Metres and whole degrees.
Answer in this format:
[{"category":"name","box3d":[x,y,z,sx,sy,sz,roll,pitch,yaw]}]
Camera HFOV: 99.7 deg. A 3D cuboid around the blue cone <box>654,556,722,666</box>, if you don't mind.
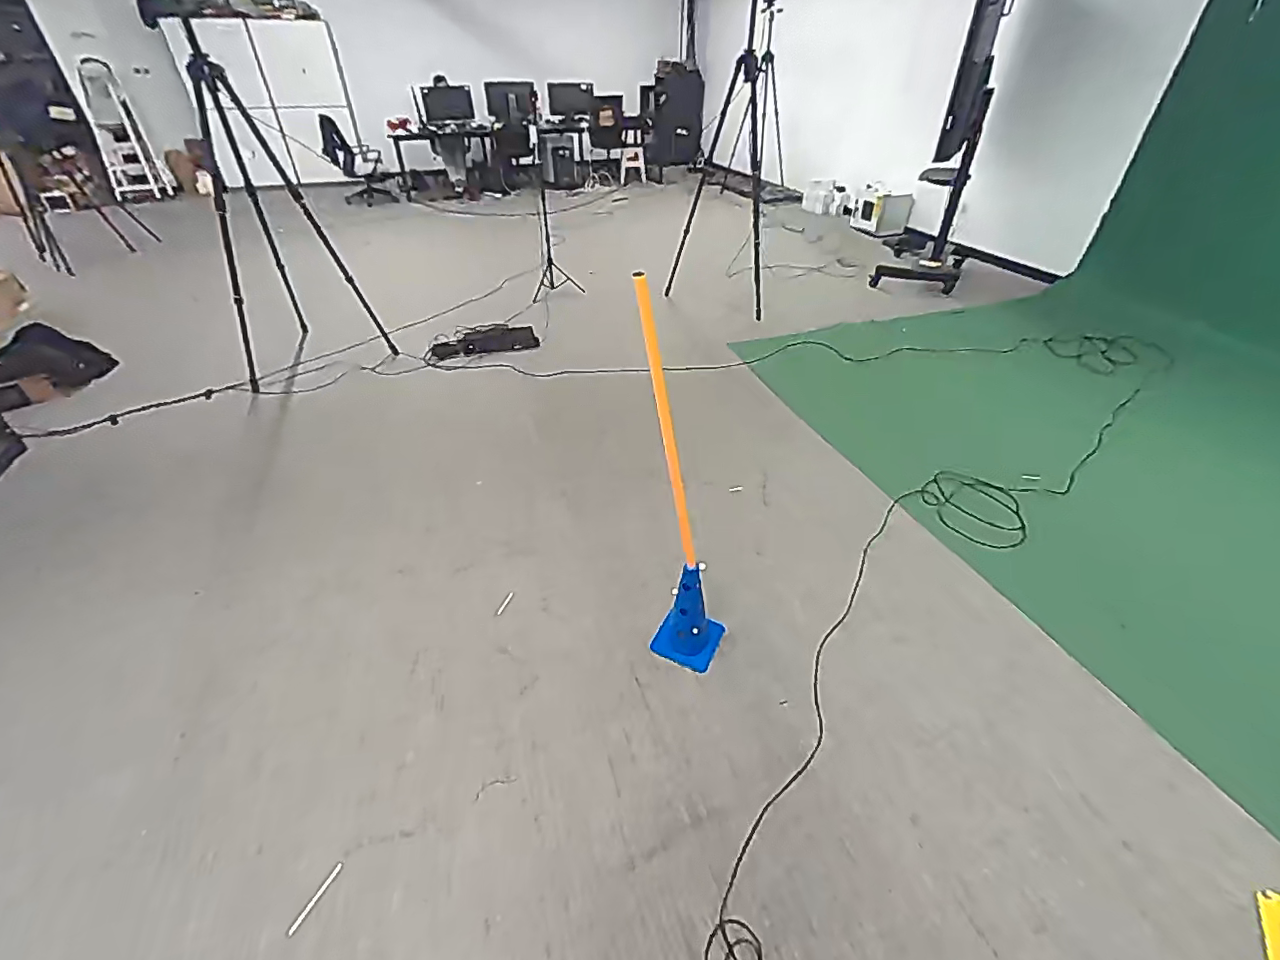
[{"category":"blue cone","box3d":[0.149,0.382,1.655,0.193,0.380,0.192,14,42,21]}]
